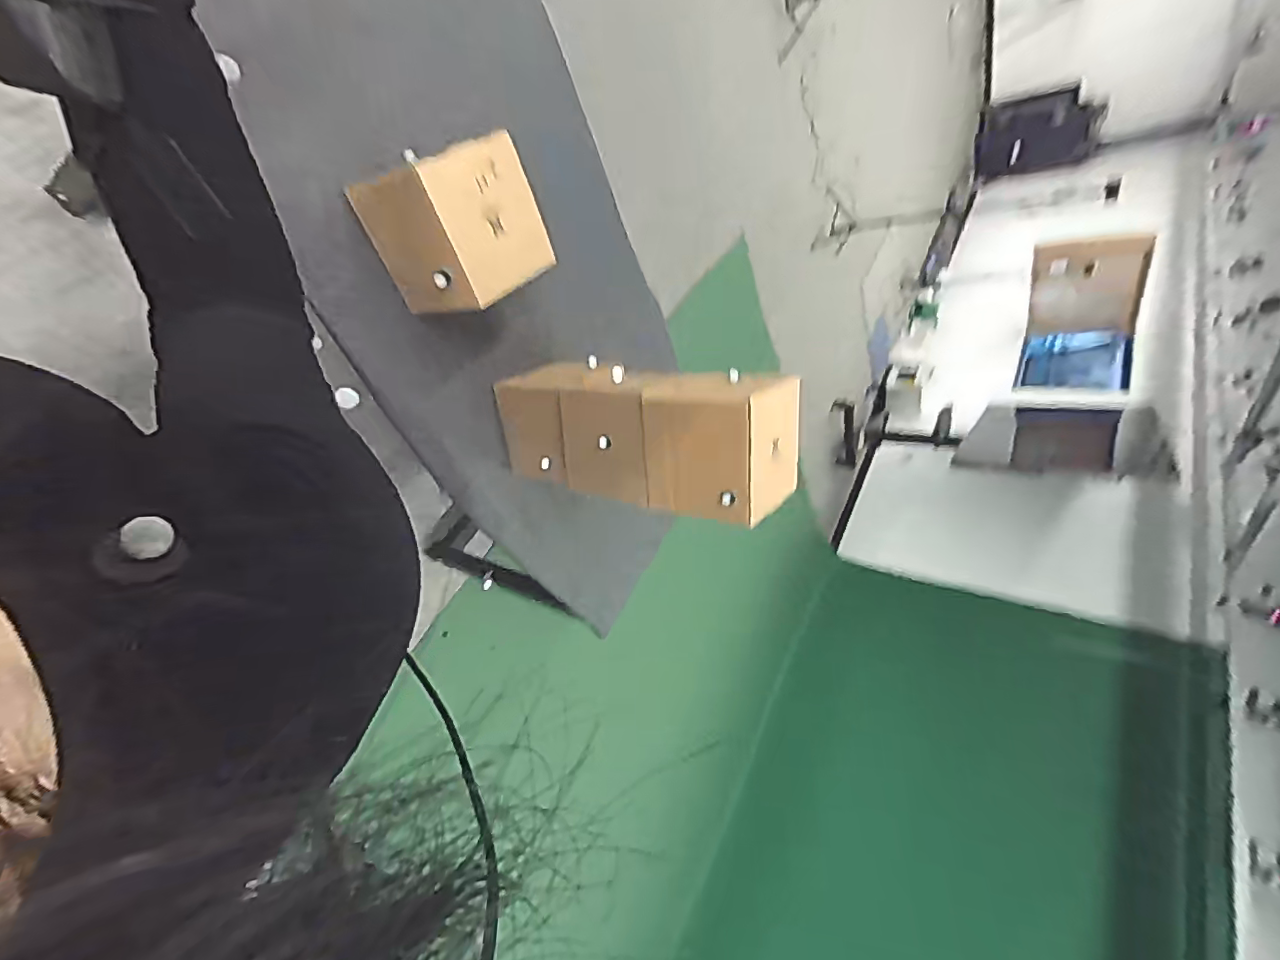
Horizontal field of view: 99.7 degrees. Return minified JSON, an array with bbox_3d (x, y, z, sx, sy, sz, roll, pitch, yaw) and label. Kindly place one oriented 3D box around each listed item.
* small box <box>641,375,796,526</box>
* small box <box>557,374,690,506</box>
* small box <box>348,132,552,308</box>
[{"bbox_3d":[0.113,-0.054,0.781,0.168,0.176,0.179,-27,120,-48],"label":"small box"},{"bbox_3d":[-0.016,-0.075,0.879,0.168,0.176,0.179,-24,117,-49],"label":"small box"},{"bbox_3d":[-0.262,-0.356,0.760,0.168,0.176,0.179,-50,134,-36],"label":"small box"}]
